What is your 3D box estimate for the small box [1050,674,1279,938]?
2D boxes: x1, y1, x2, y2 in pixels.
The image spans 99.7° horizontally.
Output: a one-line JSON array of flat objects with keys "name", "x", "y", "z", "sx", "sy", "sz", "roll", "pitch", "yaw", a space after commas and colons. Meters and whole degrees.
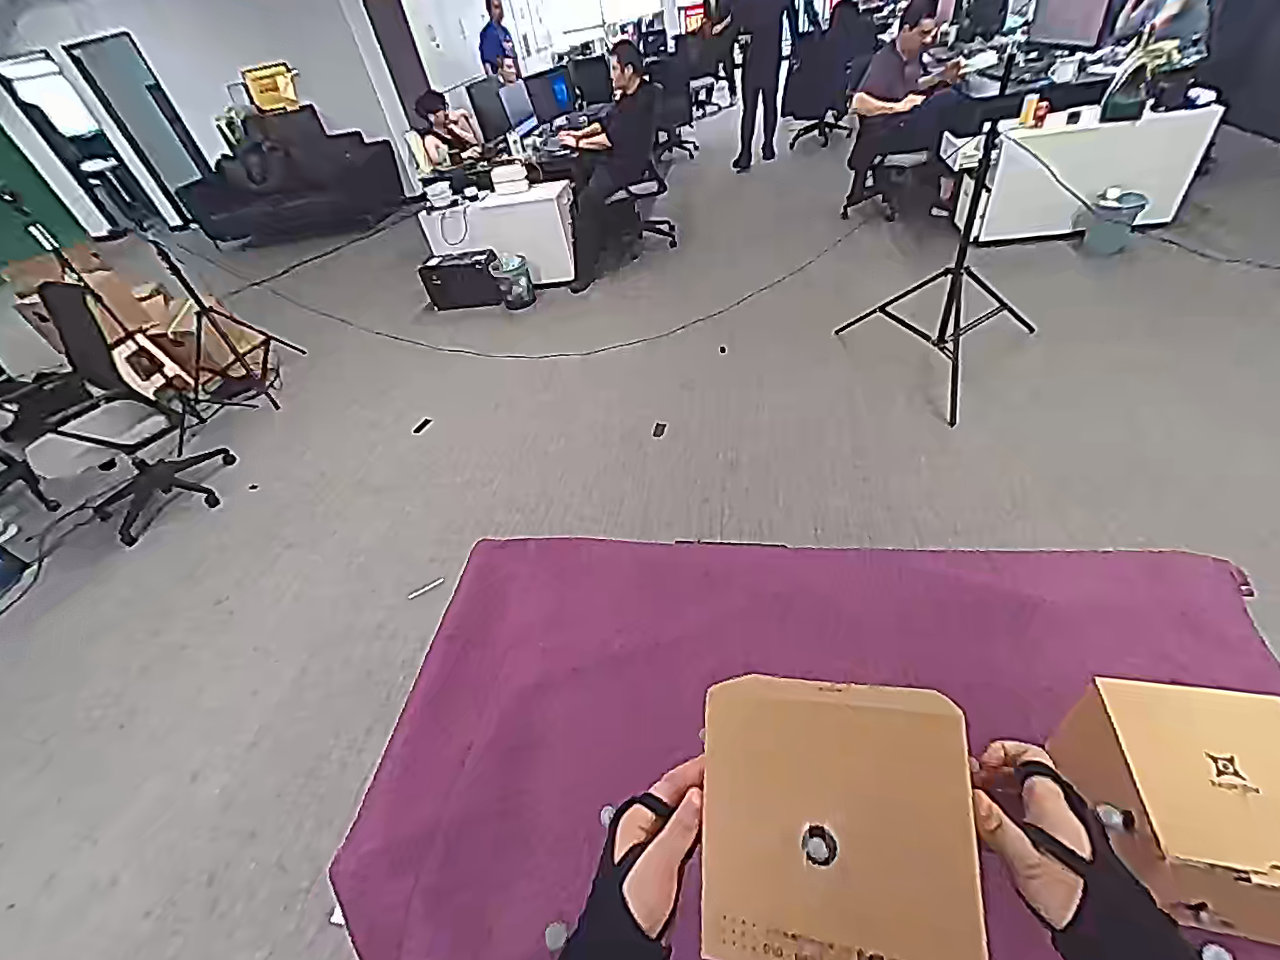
[{"name": "small box", "x": 0.568, "y": 0.334, "z": 0.564, "sx": 0.168, "sy": 0.176, "sz": 0.179, "roll": 2, "pitch": 42, "yaw": 16}]

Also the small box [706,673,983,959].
[{"name": "small box", "x": 0.150, "y": 0.247, "z": 0.415, "sx": 0.168, "sy": 0.179, "sz": 0.176, "roll": -2, "pitch": 73, "yaw": 22}]
